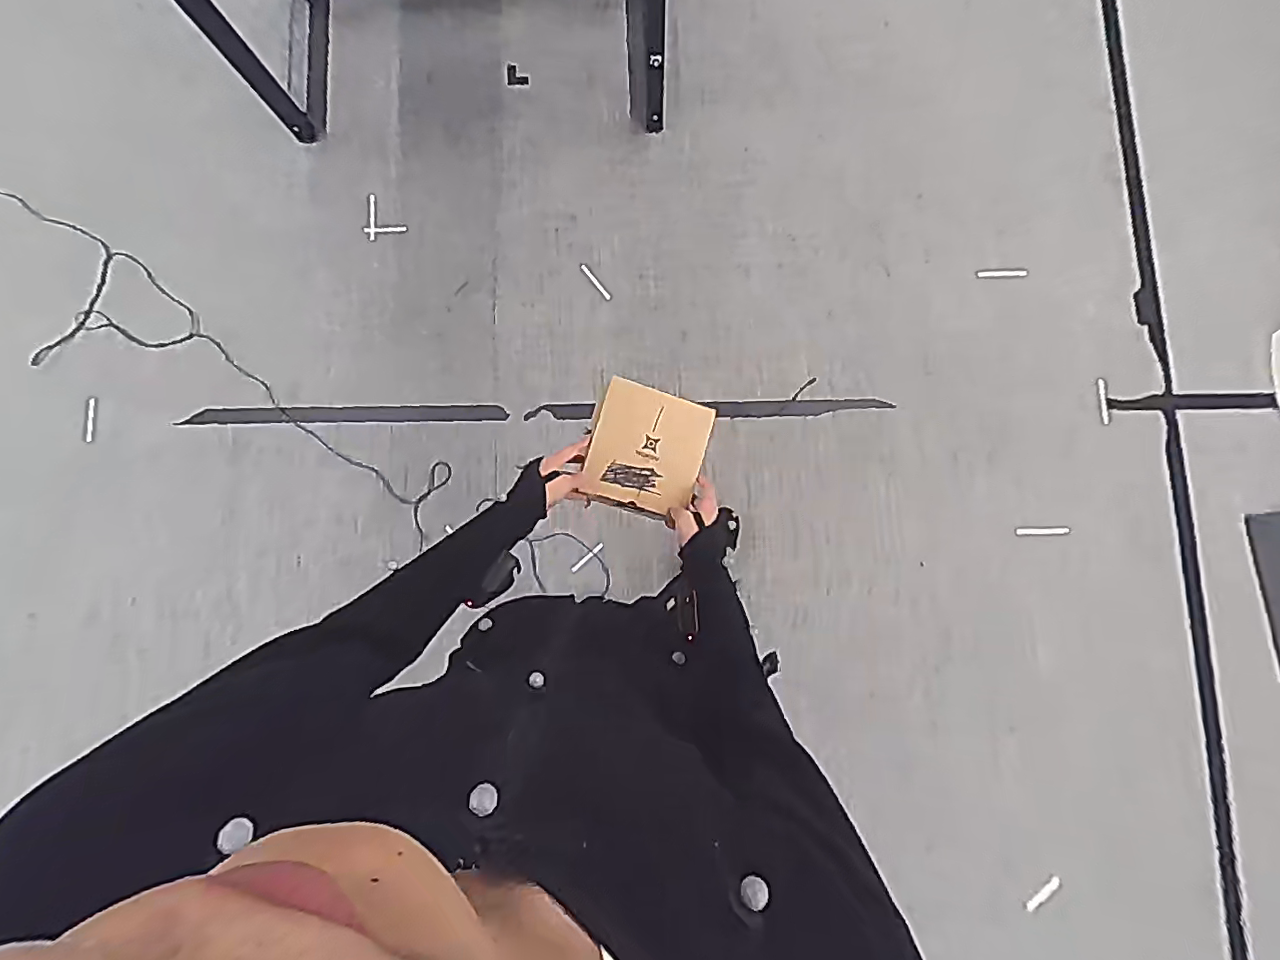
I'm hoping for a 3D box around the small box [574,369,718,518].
[{"bbox_3d":[-0.001,-0.047,0.840,0.168,0.176,0.179,17,83,-10],"label":"small box"}]
